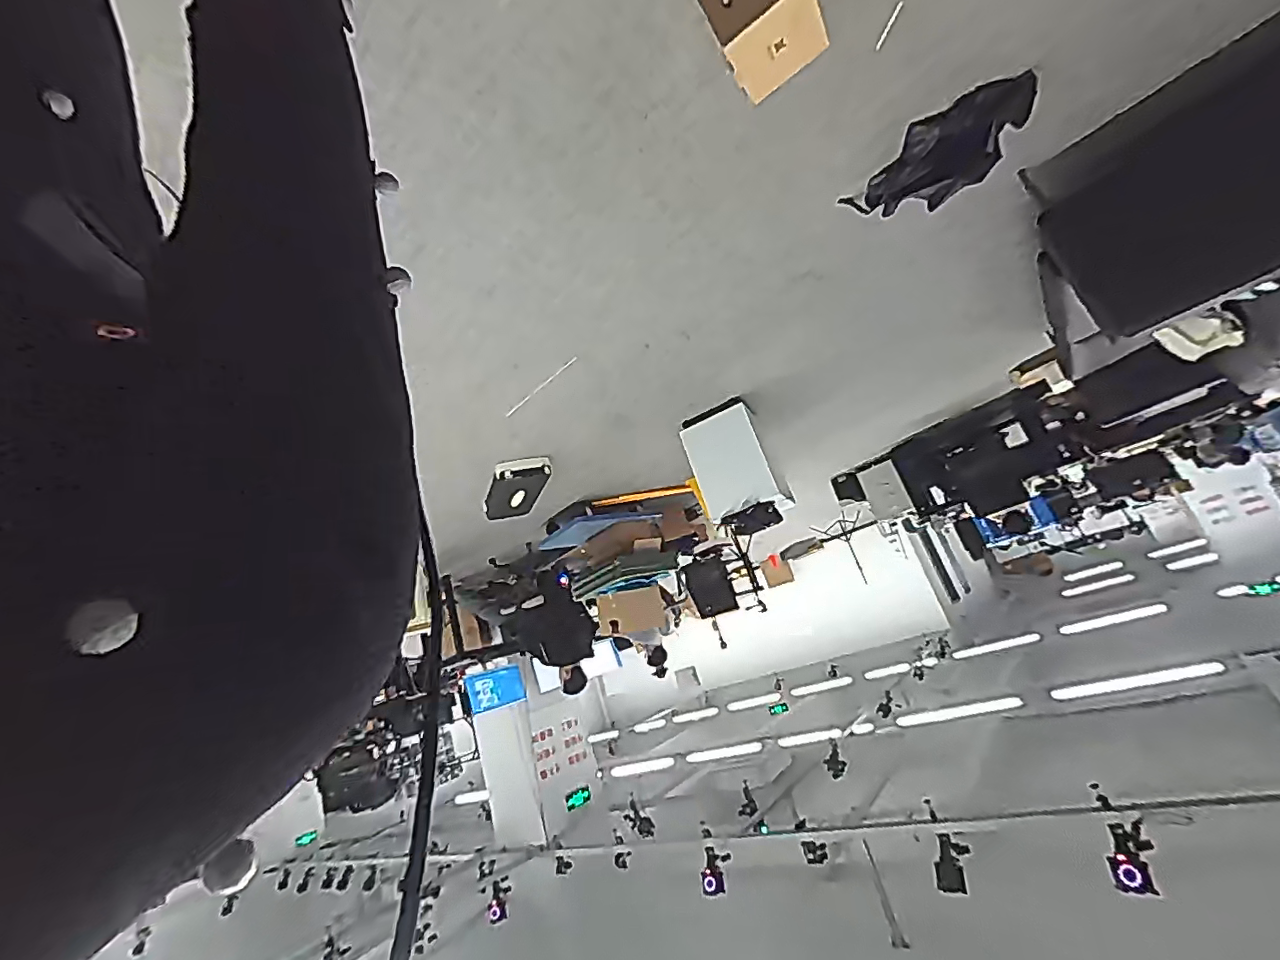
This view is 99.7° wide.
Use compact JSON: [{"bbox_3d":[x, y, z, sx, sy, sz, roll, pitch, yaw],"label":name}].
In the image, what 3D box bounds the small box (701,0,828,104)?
[{"bbox_3d":[0.236,-0.902,1.052,0.179,0.176,0.168,-27,162,27],"label":"small box"}]
